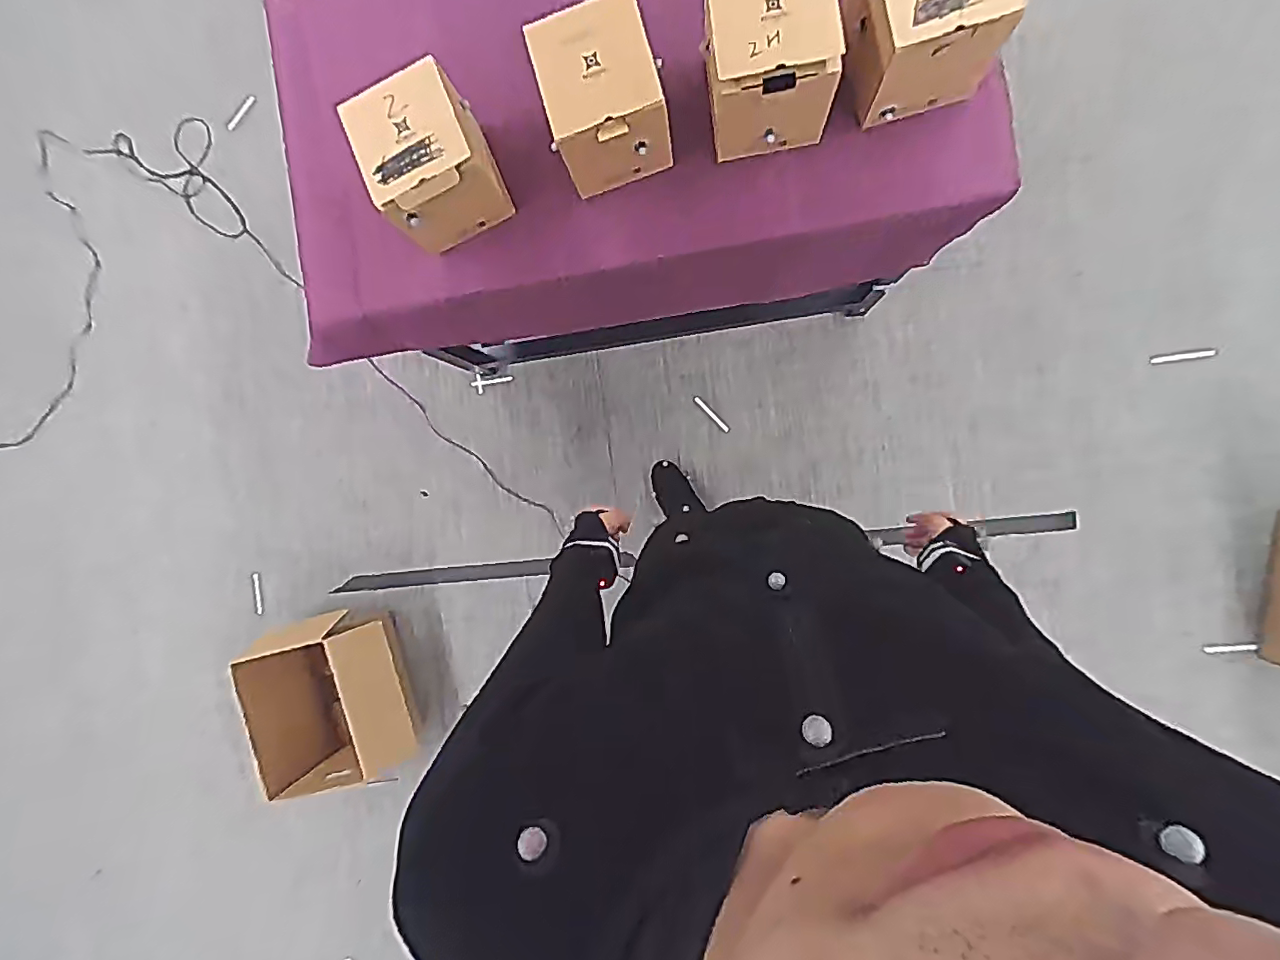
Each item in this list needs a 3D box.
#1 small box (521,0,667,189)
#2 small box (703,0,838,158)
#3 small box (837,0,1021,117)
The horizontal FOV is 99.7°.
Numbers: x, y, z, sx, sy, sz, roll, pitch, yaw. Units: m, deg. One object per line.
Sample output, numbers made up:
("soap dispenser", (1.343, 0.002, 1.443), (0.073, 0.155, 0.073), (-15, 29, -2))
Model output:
("small box", (-0.060, -0.582, 0.834), (0.168, 0.176, 0.179), (-16, 89, 7))
("small box", (0.182, -0.620, 0.800), (0.168, 0.176, 0.179), (-6, 90, 7))
("small box", (0.396, -0.661, 0.772), (0.168, 0.176, 0.179), (-12, 89, 8))
